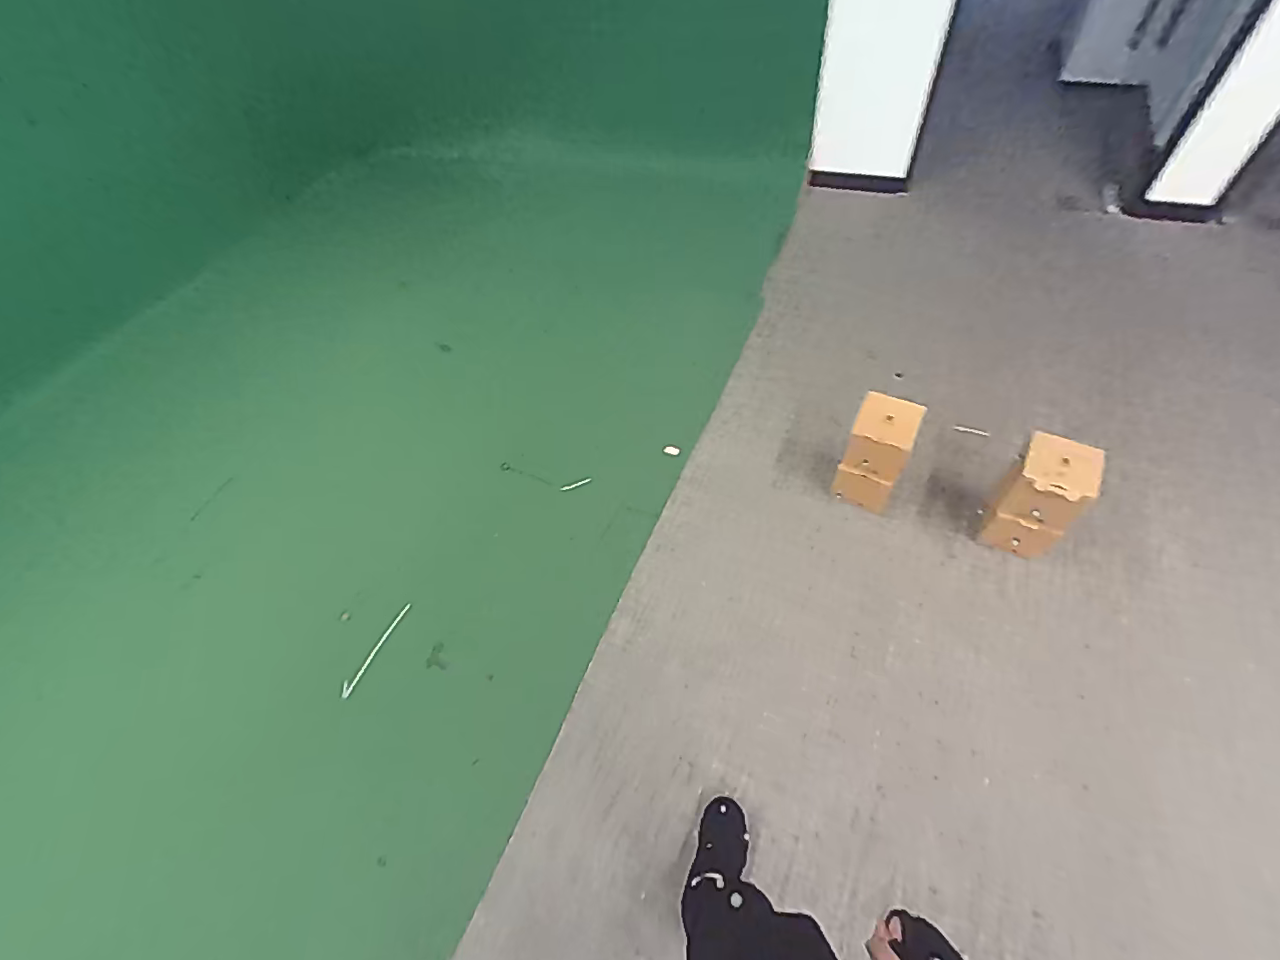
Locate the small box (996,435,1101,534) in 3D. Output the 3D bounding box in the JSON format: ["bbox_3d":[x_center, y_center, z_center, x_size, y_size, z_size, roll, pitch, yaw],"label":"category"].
[{"bbox_3d":[1.102,0.014,1.468,0.168,0.176,0.179,23,62,23],"label":"small box"}]

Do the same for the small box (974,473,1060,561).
[{"bbox_3d":[1.117,0.114,1.599,0.168,0.176,0.179,19,62,20],"label":"small box"}]

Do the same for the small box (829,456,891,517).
[{"bbox_3d":[0.727,-0.006,1.757,0.168,0.176,0.179,22,61,20],"label":"small box"}]

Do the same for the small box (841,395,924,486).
[{"bbox_3d":[0.717,-0.116,1.615,0.168,0.176,0.179,22,62,21],"label":"small box"}]
